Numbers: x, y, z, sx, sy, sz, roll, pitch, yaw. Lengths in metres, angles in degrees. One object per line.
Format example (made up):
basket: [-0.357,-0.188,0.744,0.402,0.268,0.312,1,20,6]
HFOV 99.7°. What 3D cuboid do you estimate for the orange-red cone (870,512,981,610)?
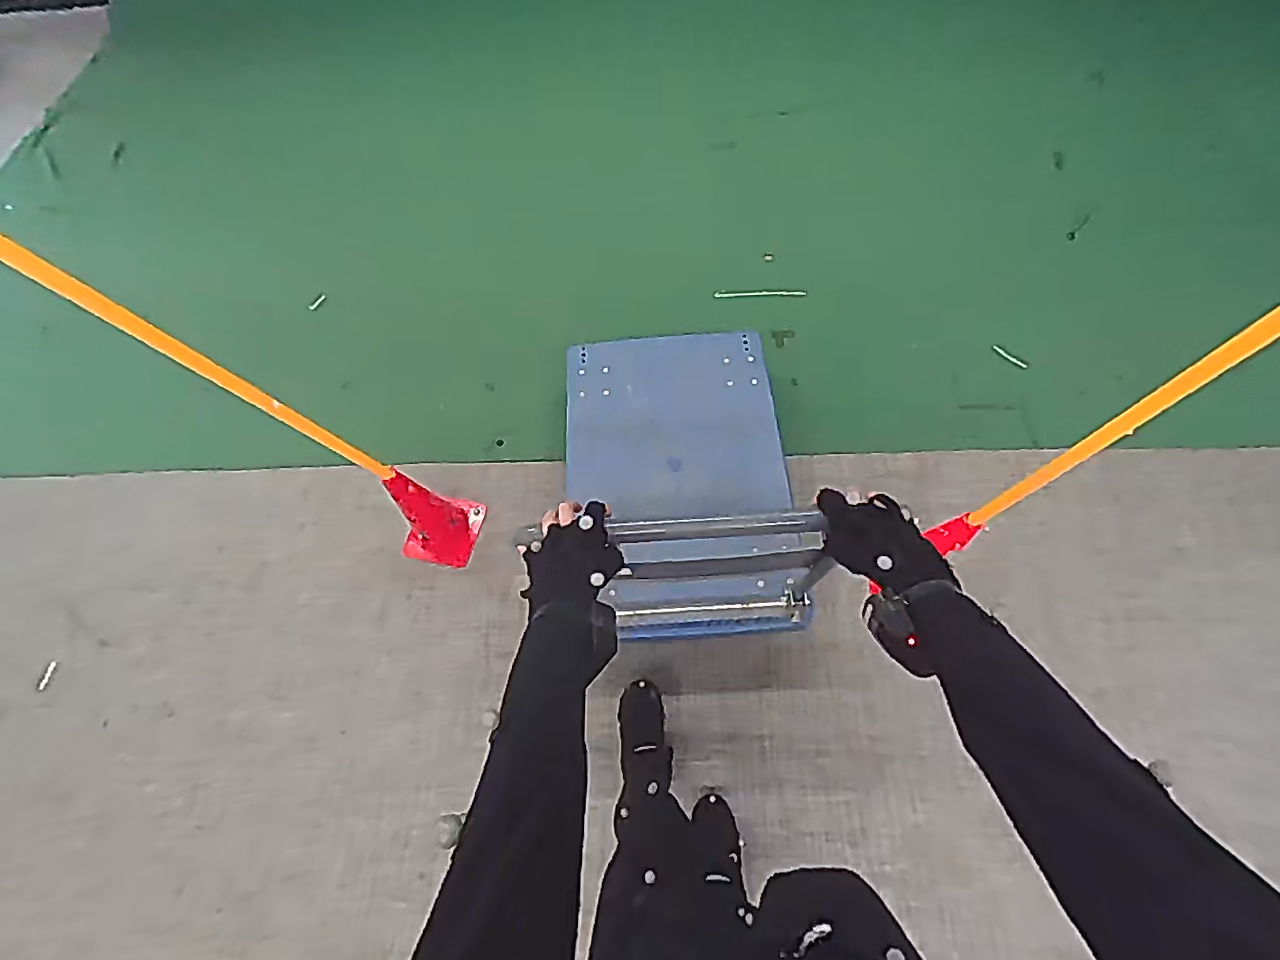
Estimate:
orange-red cone: [0.710,0.163,1.292,0.198,0.360,0.199,9,65,8]
